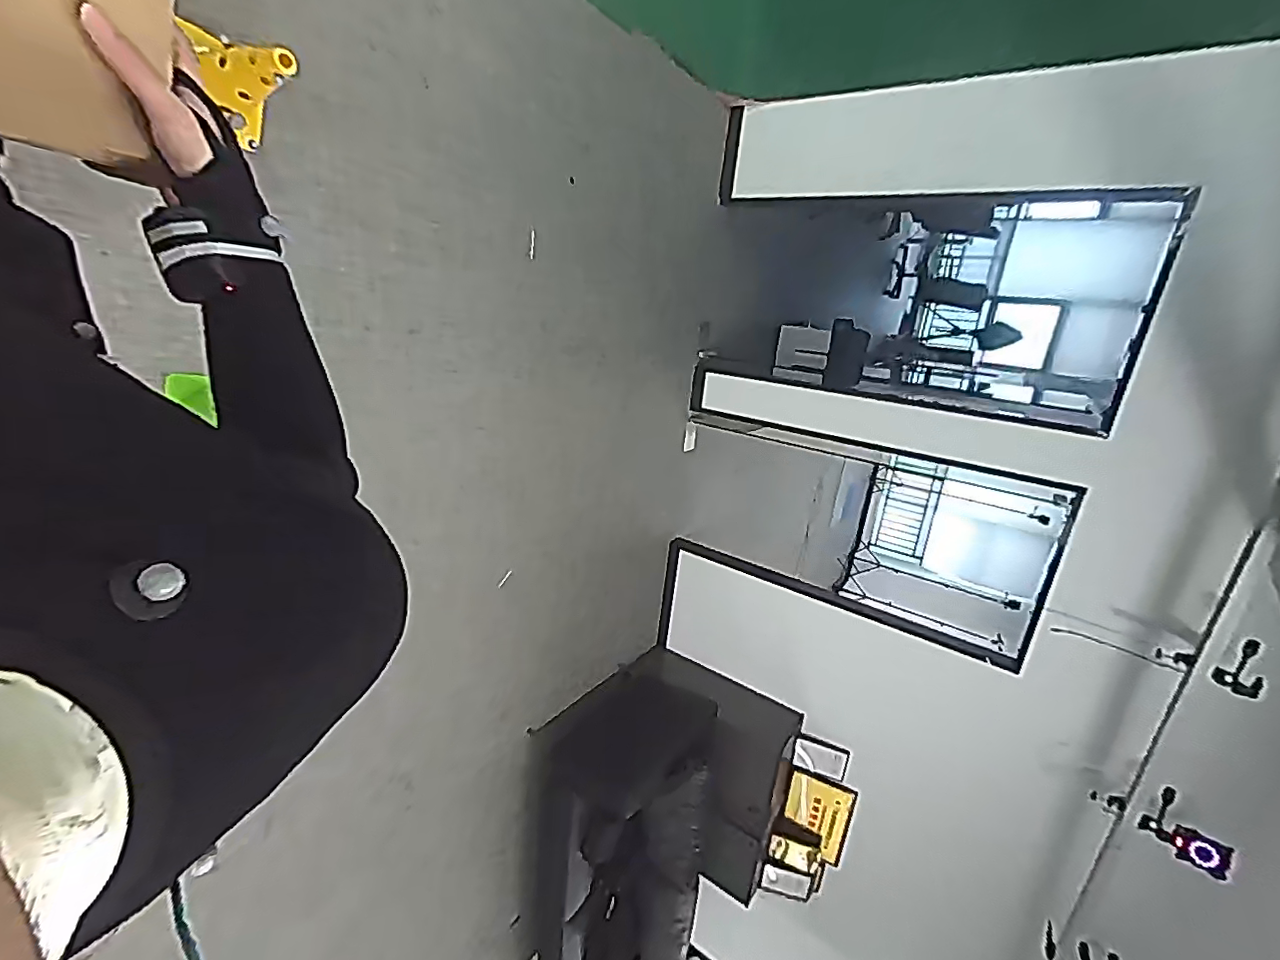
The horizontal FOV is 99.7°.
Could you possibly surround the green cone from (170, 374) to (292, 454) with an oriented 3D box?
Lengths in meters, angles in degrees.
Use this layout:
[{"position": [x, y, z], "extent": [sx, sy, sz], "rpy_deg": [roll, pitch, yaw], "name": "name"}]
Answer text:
[{"position": [-0.943, -0.126, 1.304], "extent": [0.200, 0.368, 0.202], "rpy_deg": [-8, 110, -56], "name": "green cone"}]
